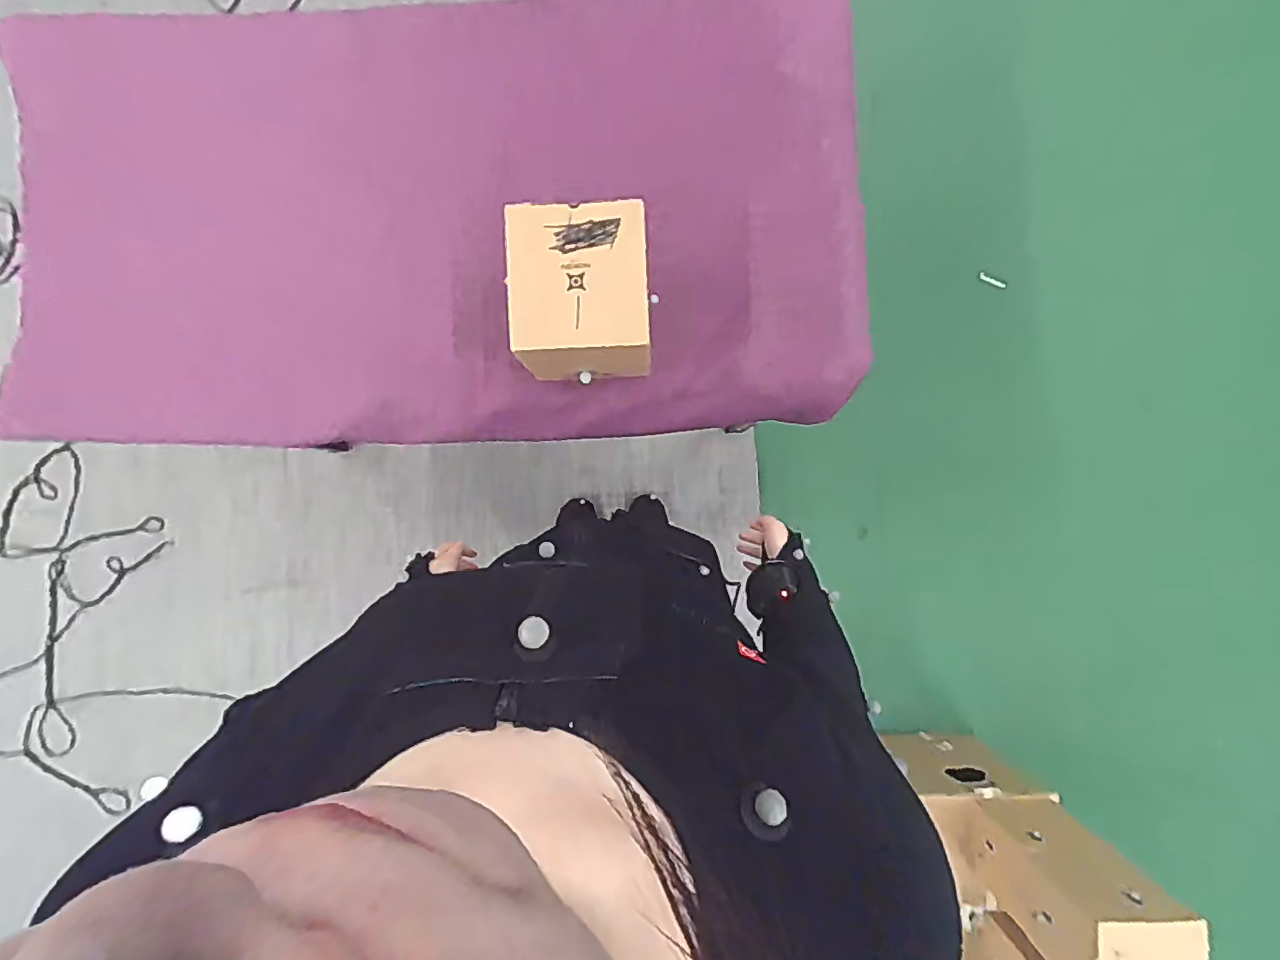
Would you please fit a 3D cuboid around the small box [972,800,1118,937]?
[{"bbox_3d":[0.808,0.775,1.092,0.179,0.176,0.168,-1,90,1],"label":"small box"}]

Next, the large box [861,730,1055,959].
[{"bbox_3d":[0.763,0.885,1.333,0.320,0.320,0.408,-1,90,1],"label":"large box"}]

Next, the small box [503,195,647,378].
[{"bbox_3d":[-0.076,-0.239,0.702,0.168,0.176,0.179,-2,89,1],"label":"small box"}]

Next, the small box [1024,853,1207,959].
[{"bbox_3d":[0.804,0.775,0.927,0.179,0.176,0.168,-2,89,1],"label":"small box"}]

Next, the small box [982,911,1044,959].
[{"bbox_3d":[0.818,1.023,1.085,0.168,0.176,0.179,4,89,0],"label":"small box"}]
